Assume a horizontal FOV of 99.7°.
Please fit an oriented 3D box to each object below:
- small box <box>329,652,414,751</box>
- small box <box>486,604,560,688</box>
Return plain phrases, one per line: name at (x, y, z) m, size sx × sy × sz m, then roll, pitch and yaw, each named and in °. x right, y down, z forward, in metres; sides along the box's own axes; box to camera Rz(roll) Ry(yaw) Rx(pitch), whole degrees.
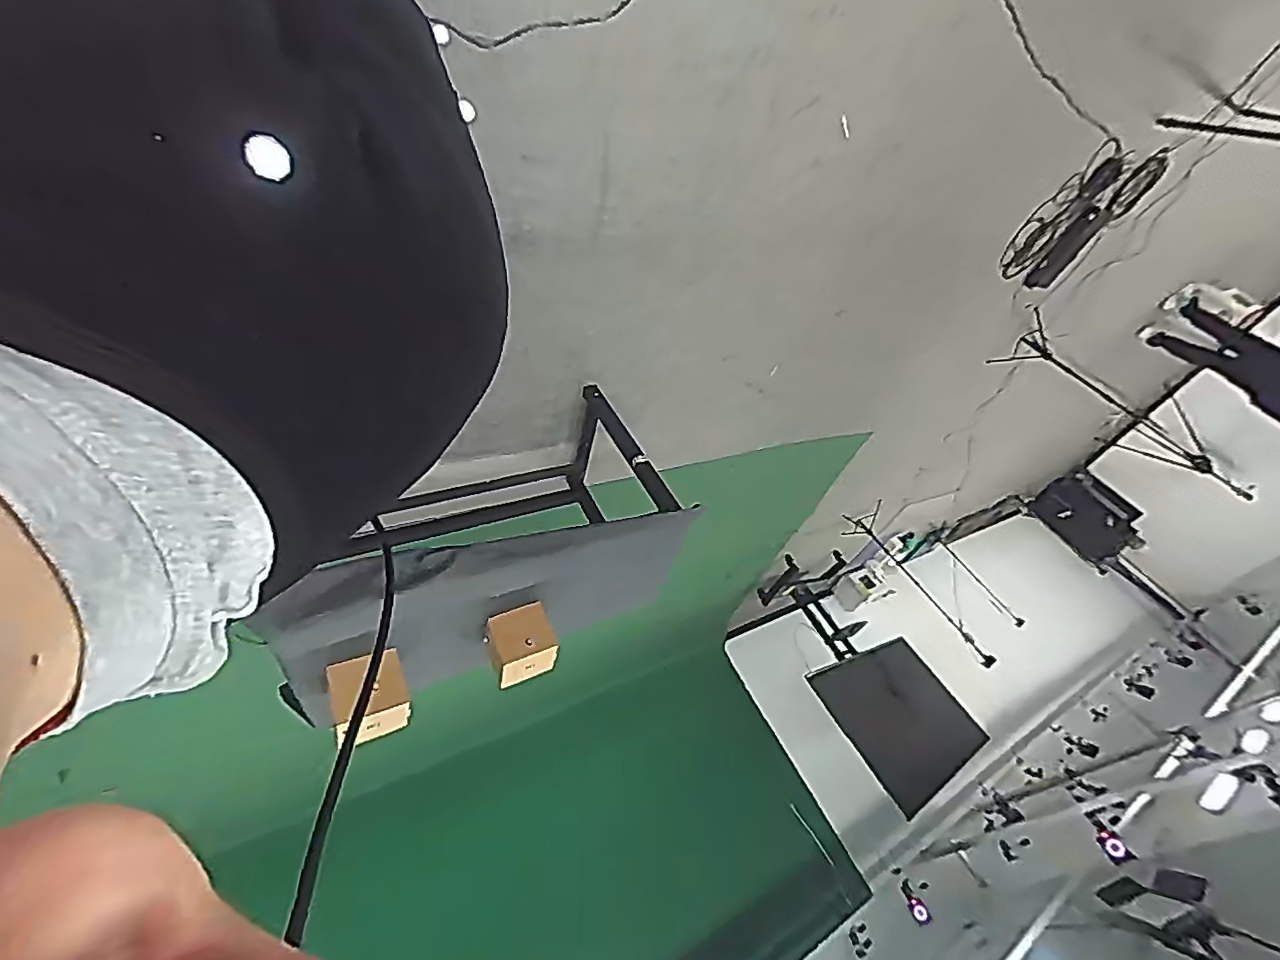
small box at (-0.737, 0.600, 1.483) m, size 0.179 × 0.176 × 0.168 m, roll -10°, pitch 140°, yaw -34°
small box at (-0.372, 0.518, 1.707) m, size 0.179 × 0.176 × 0.168 m, roll -13°, pitch 141°, yaw -28°
